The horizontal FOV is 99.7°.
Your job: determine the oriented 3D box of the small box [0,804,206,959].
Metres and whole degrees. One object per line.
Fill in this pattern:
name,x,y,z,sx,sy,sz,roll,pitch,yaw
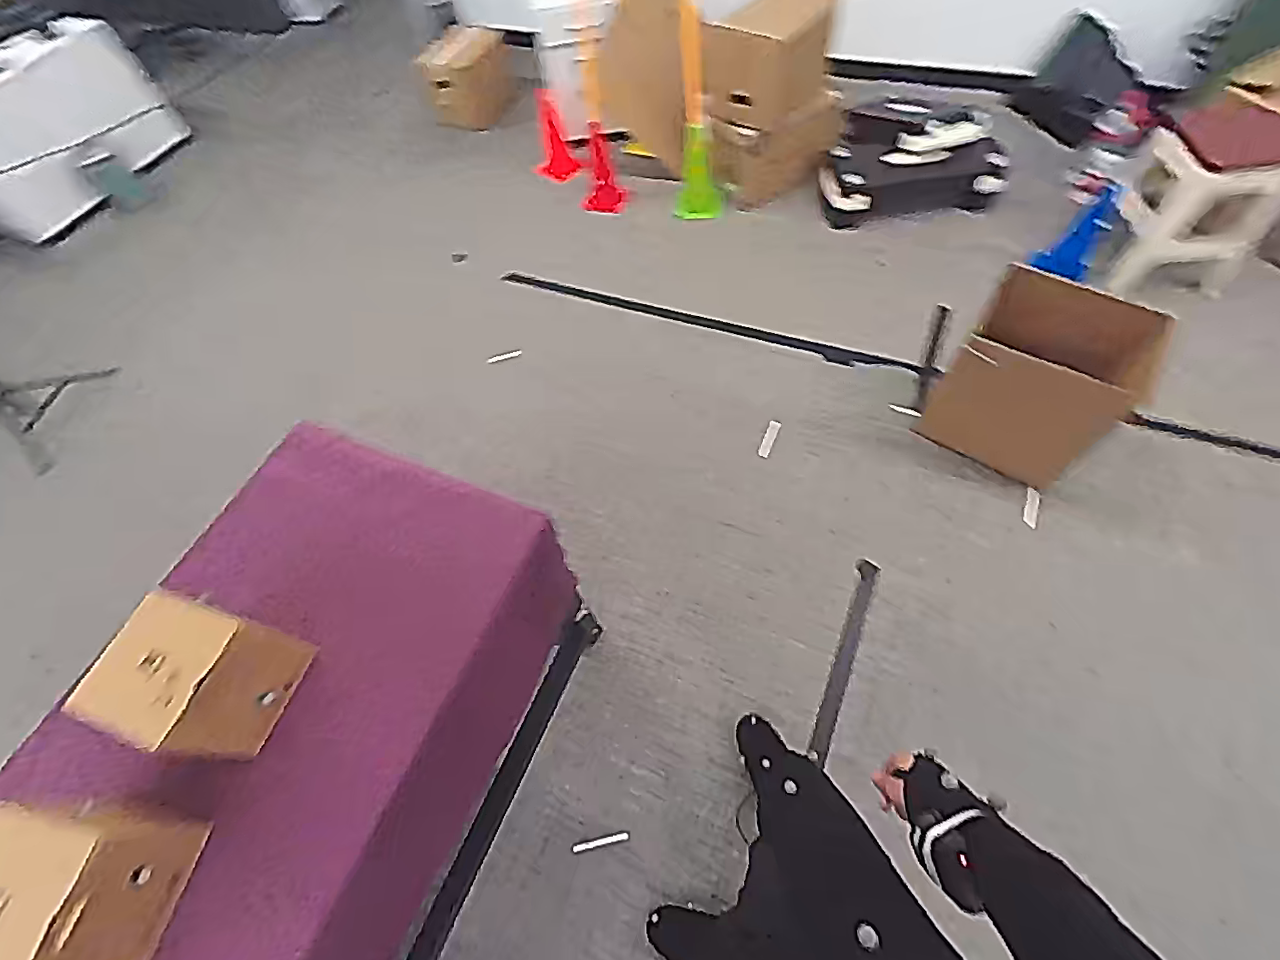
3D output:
small box,-0.711,0.515,0.675,0.179,0.176,0.168,6,61,11

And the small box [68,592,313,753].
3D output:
small box,-0.639,0.288,0.793,0.179,0.176,0.168,14,64,14
